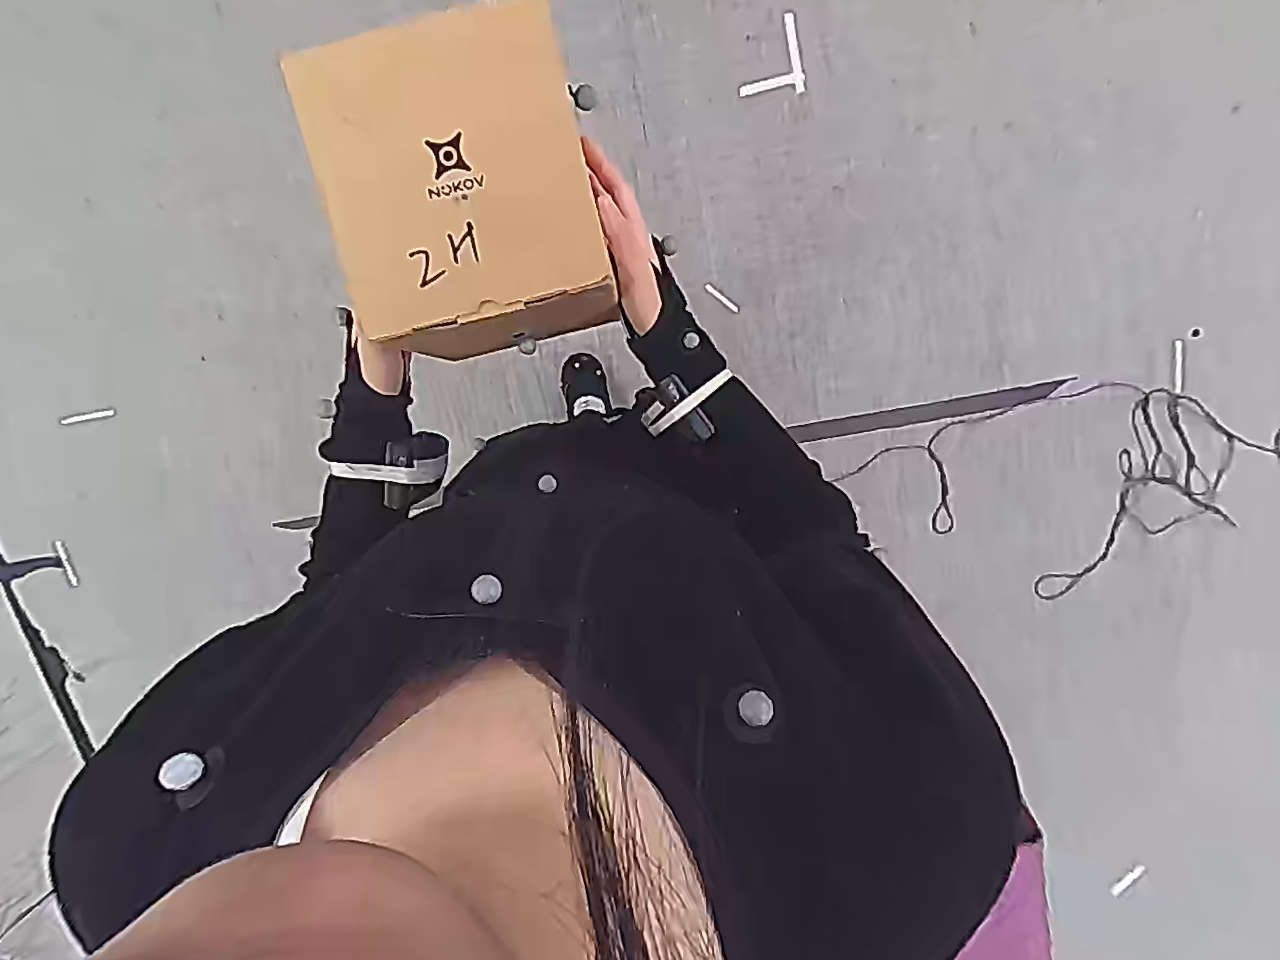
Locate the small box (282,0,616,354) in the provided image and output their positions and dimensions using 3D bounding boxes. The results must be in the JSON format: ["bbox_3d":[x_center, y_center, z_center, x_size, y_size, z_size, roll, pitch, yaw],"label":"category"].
[{"bbox_3d":[-0.117,-0.205,0.410,0.168,0.176,0.179,-13,98,2],"label":"small box"}]
